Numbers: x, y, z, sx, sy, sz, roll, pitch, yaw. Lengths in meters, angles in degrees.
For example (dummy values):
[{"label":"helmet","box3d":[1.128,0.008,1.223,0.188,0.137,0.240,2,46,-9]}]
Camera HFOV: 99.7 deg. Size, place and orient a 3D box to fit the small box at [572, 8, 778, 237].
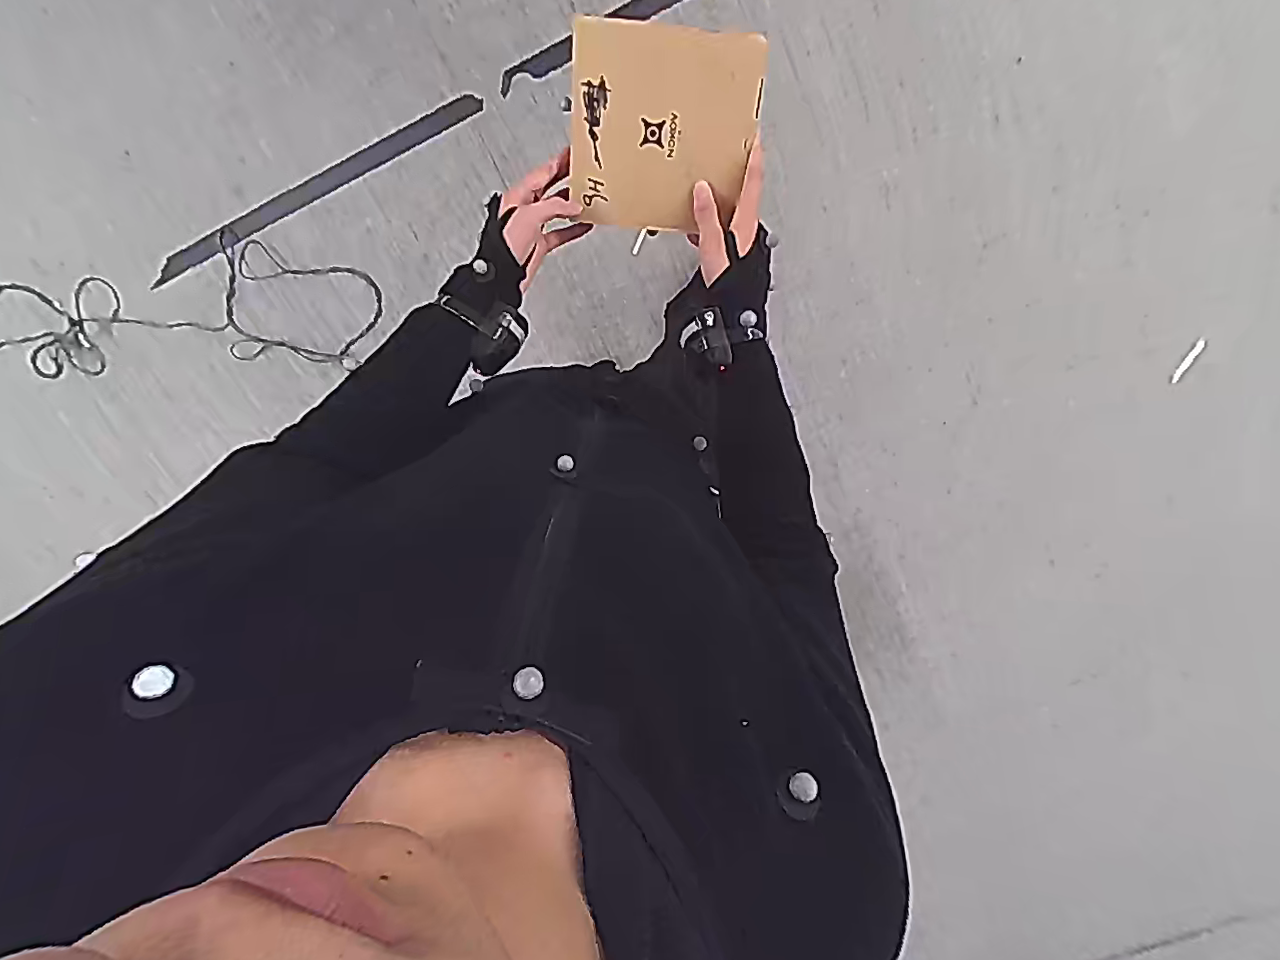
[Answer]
[{"label":"small box","box3d":[0.027,-0.367,0.575,0.179,0.176,0.168,6,120,-2]}]
